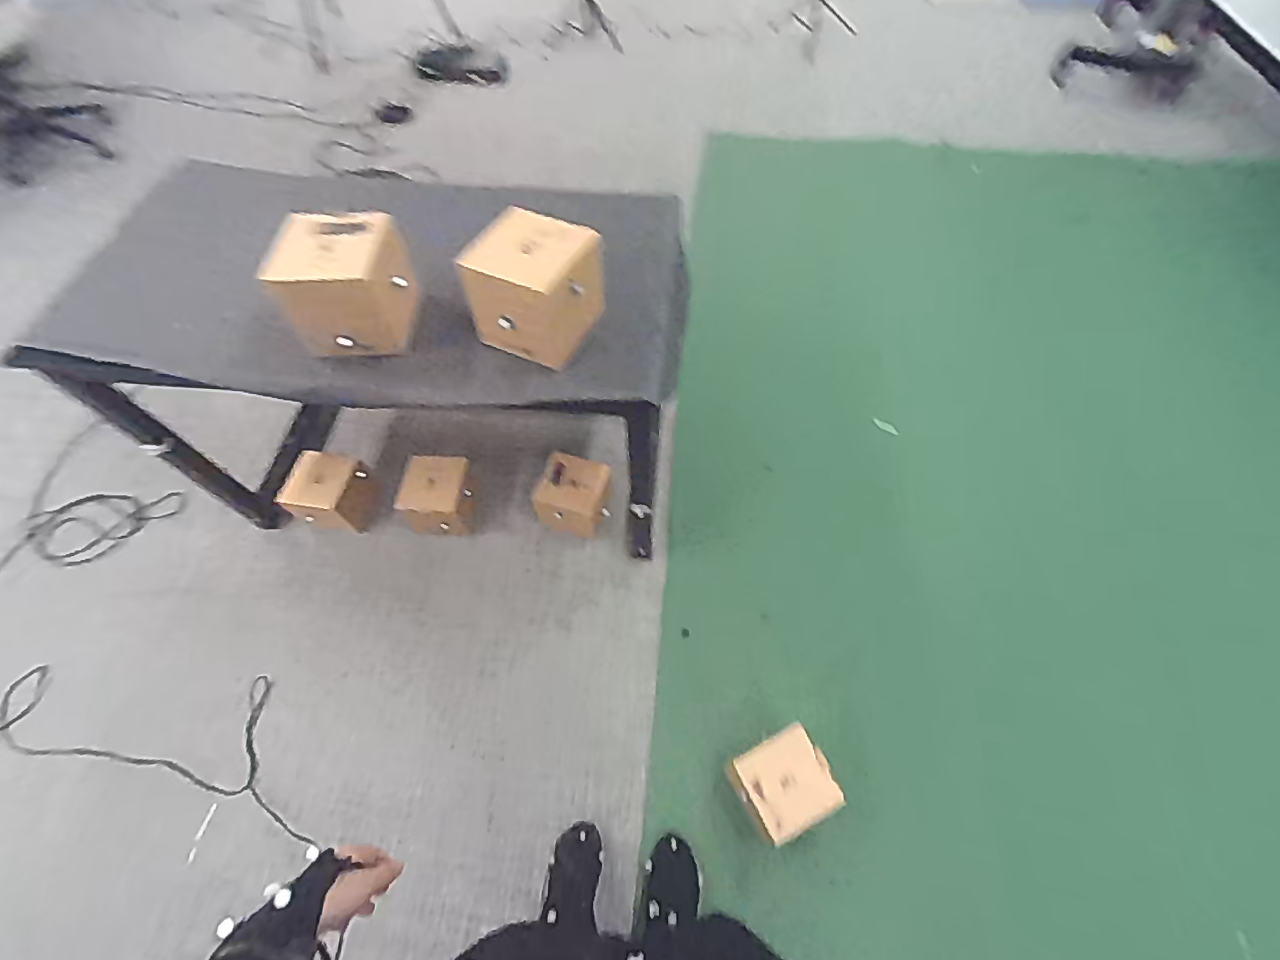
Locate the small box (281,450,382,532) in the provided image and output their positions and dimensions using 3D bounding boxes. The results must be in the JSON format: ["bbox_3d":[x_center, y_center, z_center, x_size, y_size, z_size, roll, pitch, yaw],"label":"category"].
[{"bbox_3d":[-0.889,0.037,1.582,0.168,0.176,0.179,8,59,6],"label":"small box"}]

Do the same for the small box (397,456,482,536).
[{"bbox_3d":[-0.571,0.051,1.567,0.168,0.176,0.179,3,58,2],"label":"small box"}]

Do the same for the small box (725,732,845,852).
[{"bbox_3d":[0.307,0.678,1.184,0.179,0.176,0.168,-23,61,-13],"label":"small box"}]

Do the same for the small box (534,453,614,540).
[{"bbox_3d":[-0.183,0.053,1.560,0.179,0.176,0.168,17,61,9],"label":"small box"}]

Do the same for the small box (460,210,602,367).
[{"bbox_3d":[-0.173,-0.326,0.935,0.168,0.176,0.179,23,60,14],"label":"small box"}]
